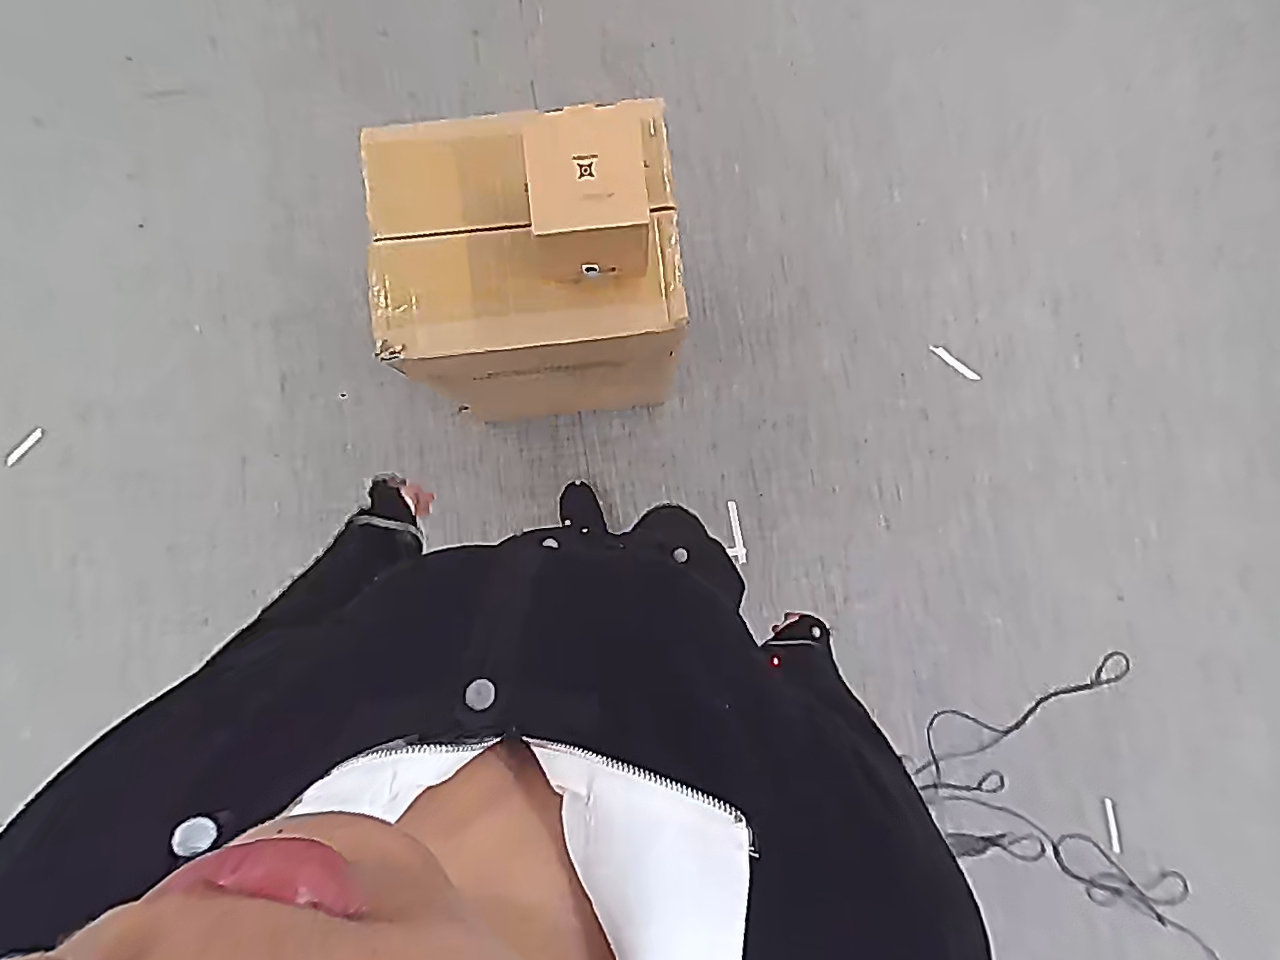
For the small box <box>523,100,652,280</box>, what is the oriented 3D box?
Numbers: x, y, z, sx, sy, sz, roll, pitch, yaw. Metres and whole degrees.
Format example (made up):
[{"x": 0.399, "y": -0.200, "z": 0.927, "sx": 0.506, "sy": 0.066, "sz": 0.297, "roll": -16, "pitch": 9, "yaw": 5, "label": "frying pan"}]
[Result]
[{"x": -0.073, "y": -0.431, "z": 0.827, "sx": 0.168, "sy": 0.176, "sz": 0.179, "roll": -7, "pitch": 89, "yaw": 1, "label": "small box"}]
